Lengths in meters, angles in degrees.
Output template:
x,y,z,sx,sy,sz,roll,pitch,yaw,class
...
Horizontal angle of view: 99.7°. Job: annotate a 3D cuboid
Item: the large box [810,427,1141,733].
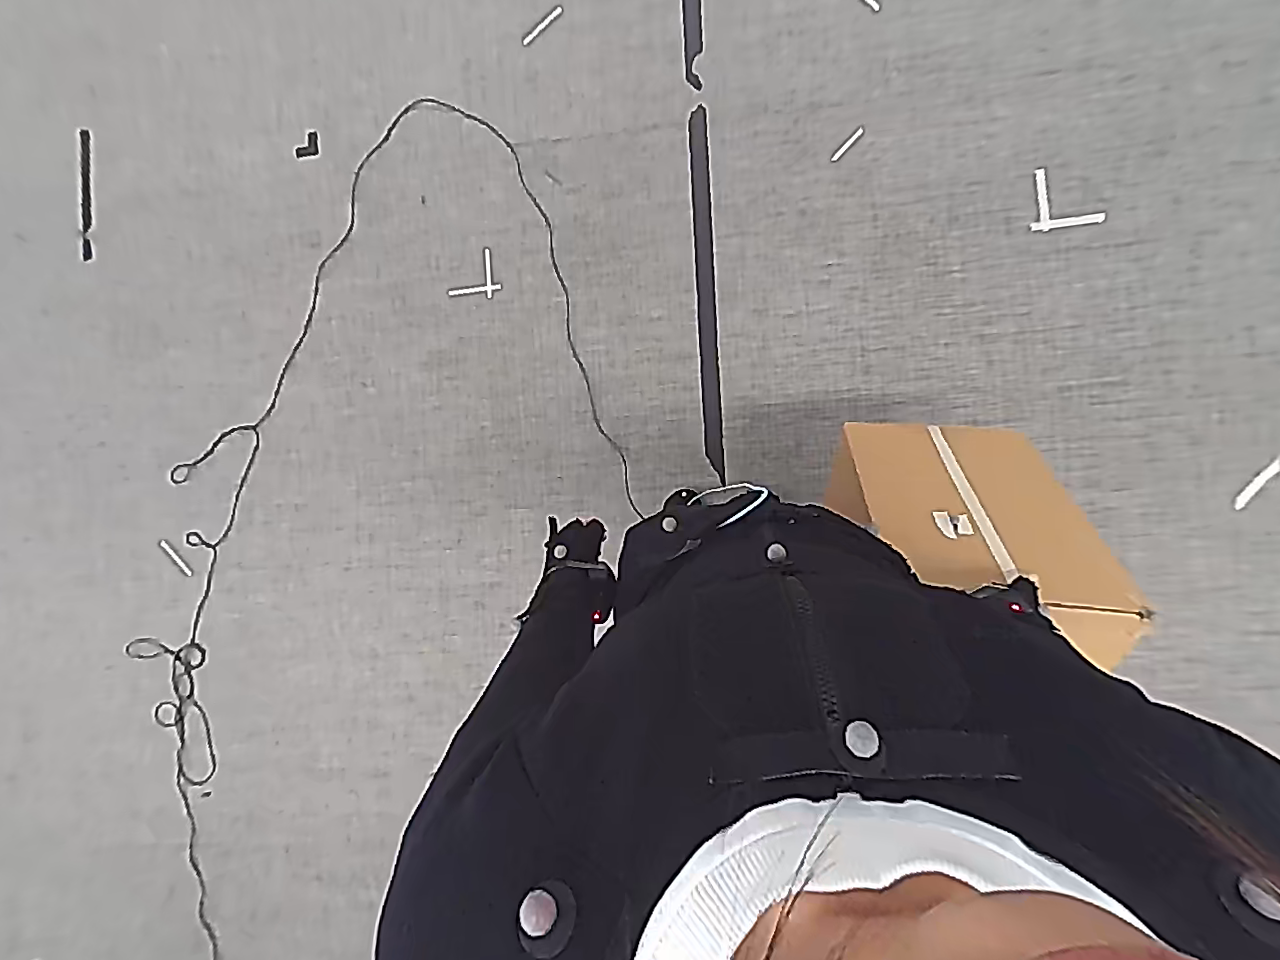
x,y,z,sx,sy,sz,roll,pitch,yaw,class
0.496,0.153,0.928,0.320,0.408,0.320,3,130,7,large box
